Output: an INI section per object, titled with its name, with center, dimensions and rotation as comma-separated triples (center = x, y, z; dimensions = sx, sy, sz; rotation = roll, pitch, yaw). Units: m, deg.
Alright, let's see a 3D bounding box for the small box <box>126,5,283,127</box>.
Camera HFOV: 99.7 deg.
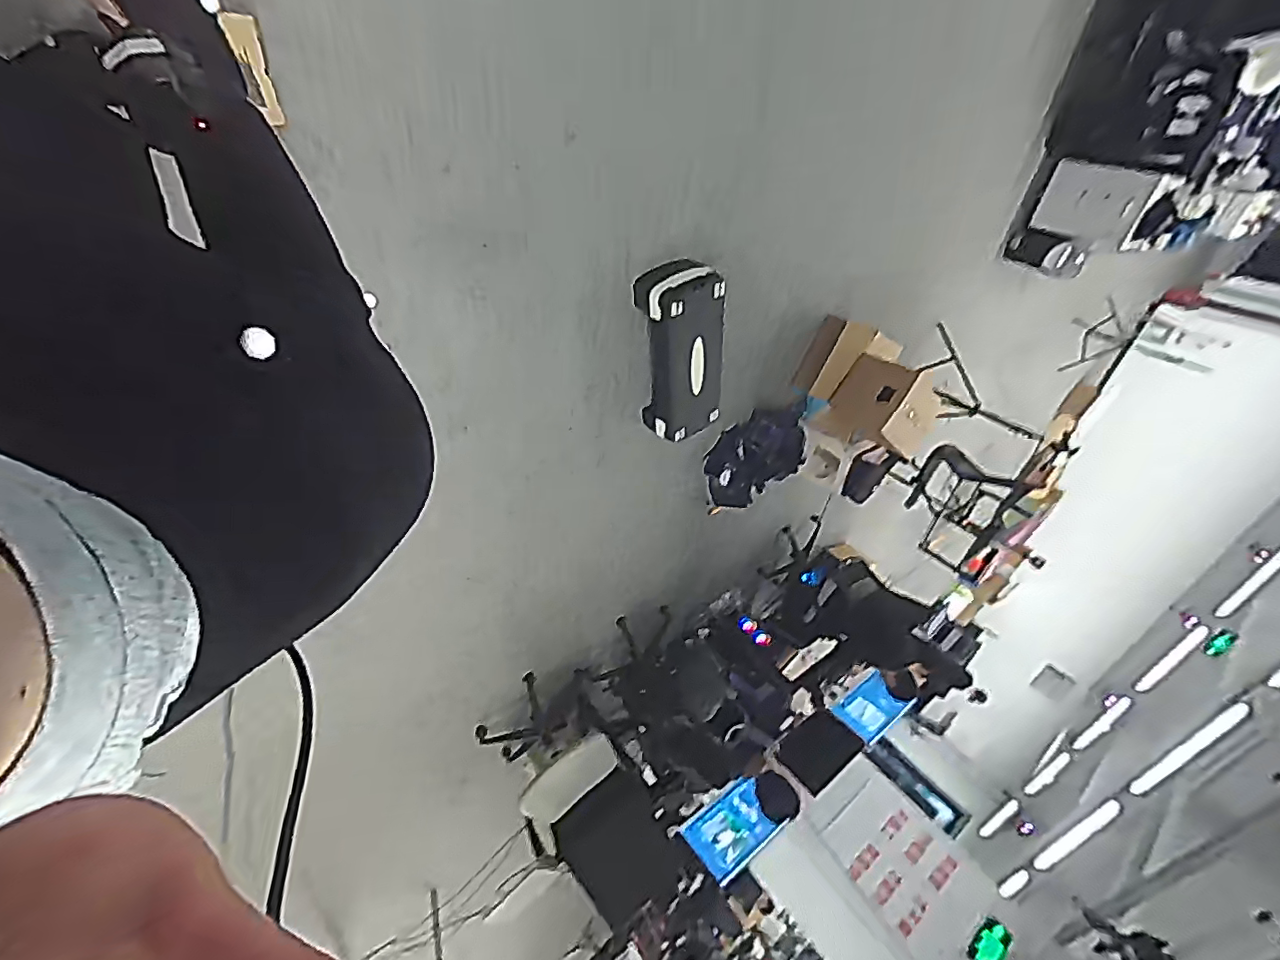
[small box]
center = -0.797, -0.757, 0.994
dimensions = 0.179, 0.176, 0.168
rotation = -23, 135, -29
